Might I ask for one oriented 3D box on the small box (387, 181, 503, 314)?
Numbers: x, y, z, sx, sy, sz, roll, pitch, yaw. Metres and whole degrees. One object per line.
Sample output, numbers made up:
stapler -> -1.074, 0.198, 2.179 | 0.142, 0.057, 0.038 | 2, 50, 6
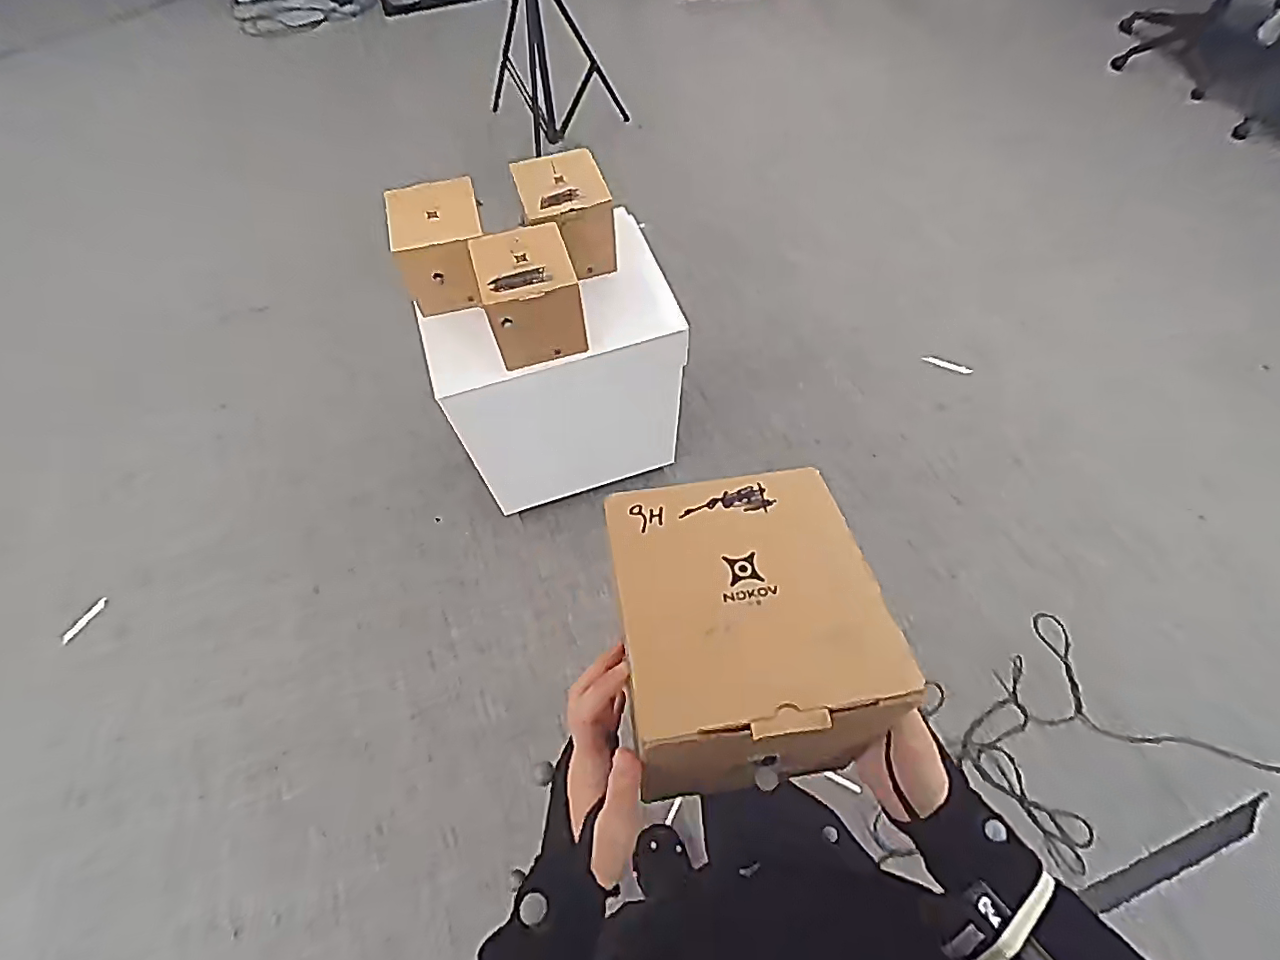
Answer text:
small box -> -0.382, -0.452, 1.077 | 0.168, 0.176, 0.179 | -15, 64, -7

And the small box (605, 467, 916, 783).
small box -> 0.068, 0.116, 0.414 | 0.168, 0.176, 0.179 | -7, 51, -6
